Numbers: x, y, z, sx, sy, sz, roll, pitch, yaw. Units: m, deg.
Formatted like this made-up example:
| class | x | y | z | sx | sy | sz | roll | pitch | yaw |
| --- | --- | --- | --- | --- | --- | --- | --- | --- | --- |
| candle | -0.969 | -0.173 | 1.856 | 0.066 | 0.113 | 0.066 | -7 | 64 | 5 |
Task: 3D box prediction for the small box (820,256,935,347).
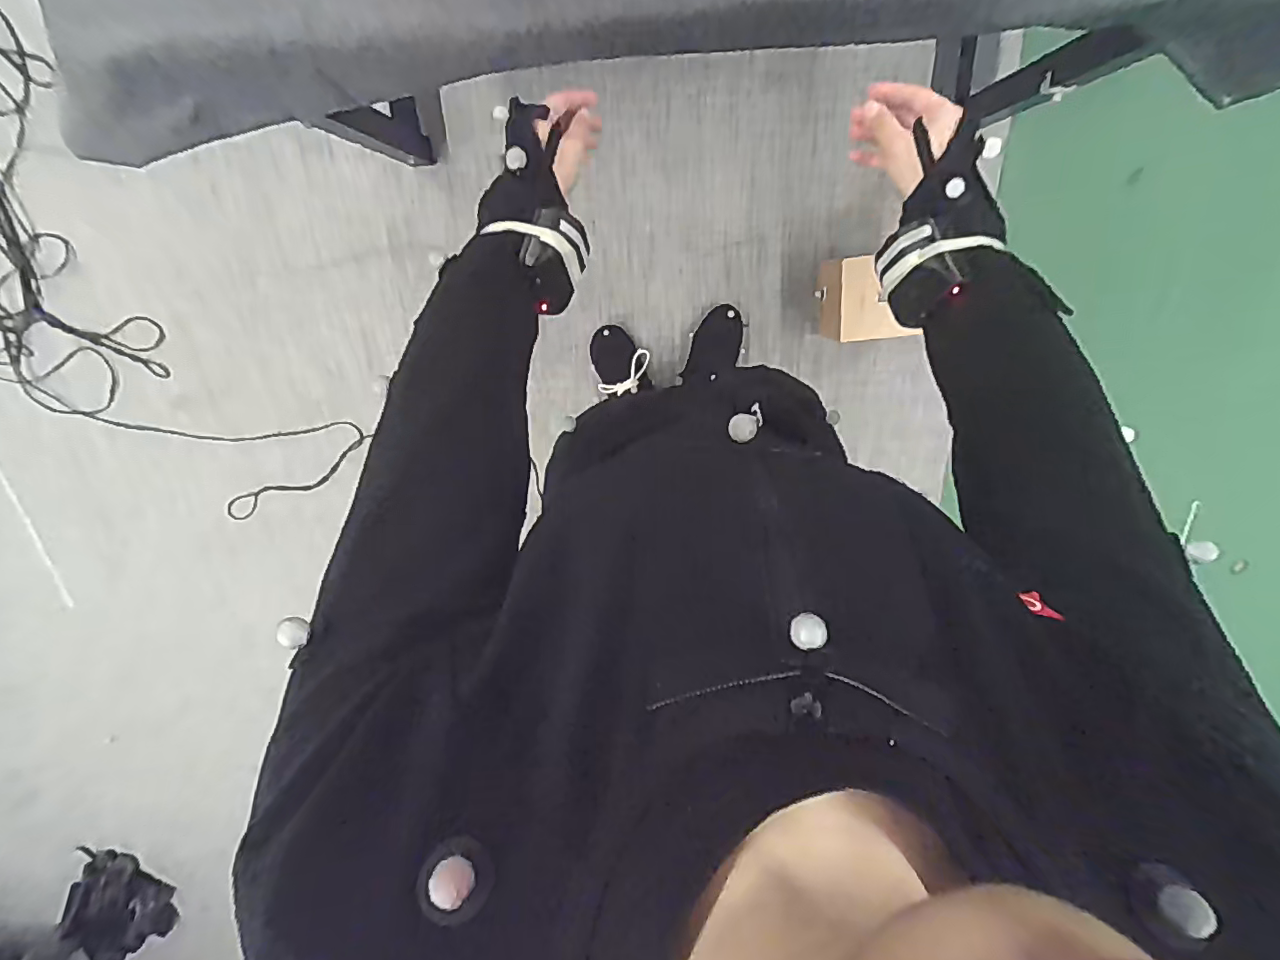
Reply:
| class | x | y | z | sx | sy | sz | roll | pitch | yaw |
| --- | --- | --- | --- | --- | --- | --- | --- | --- | --- |
| small box | 0.500 | -0.386 | 1.161 | 0.179 | 0.176 | 0.168 | -4 | 110 | 4 |
